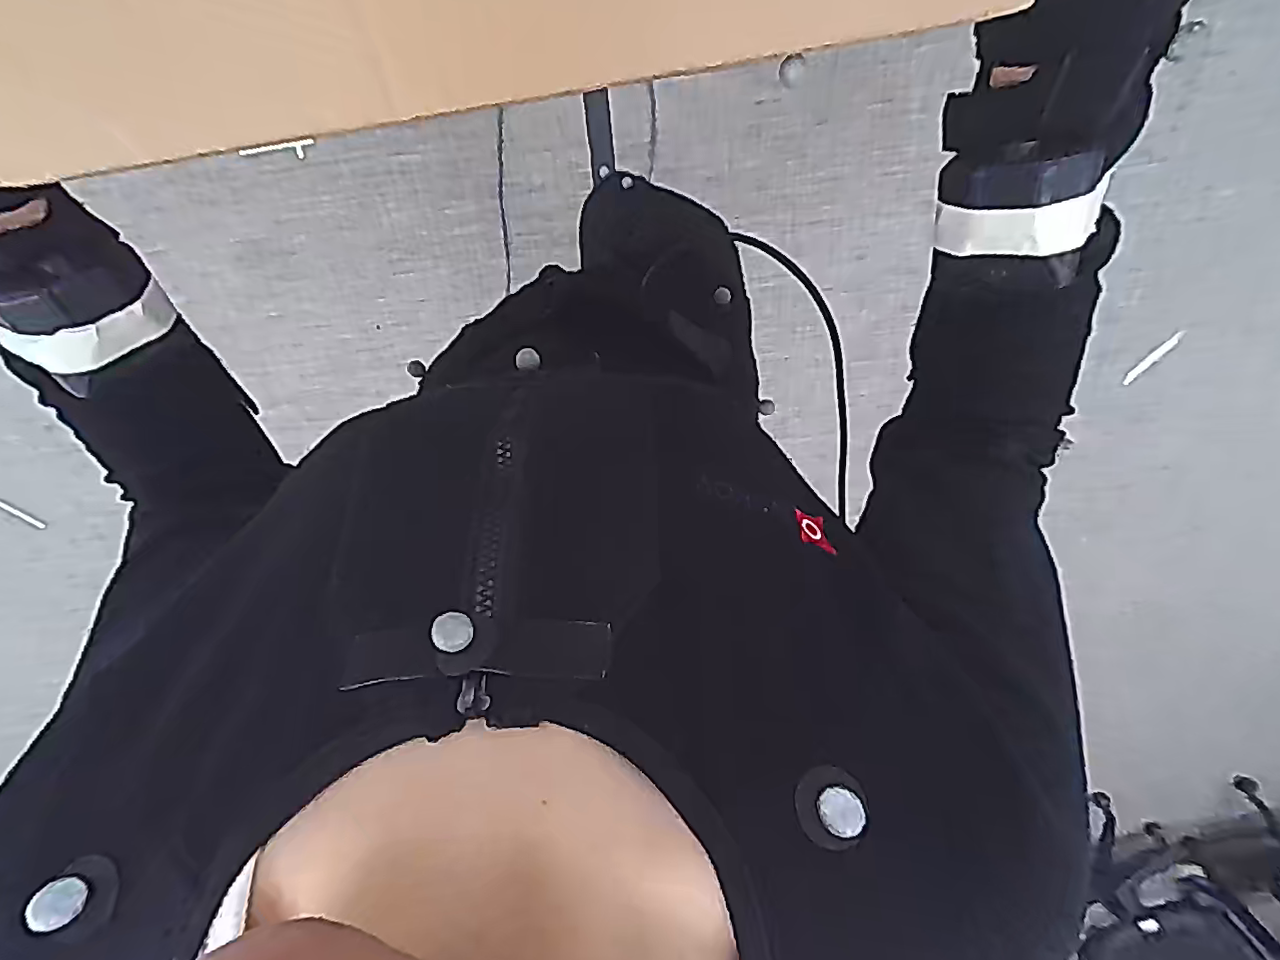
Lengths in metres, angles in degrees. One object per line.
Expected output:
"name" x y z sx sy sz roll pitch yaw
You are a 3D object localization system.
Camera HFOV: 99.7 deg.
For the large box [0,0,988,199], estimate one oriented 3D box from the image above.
"large box" -0.089 -0.358 0.227 0.408 0.320 0.320 -9 130 2
